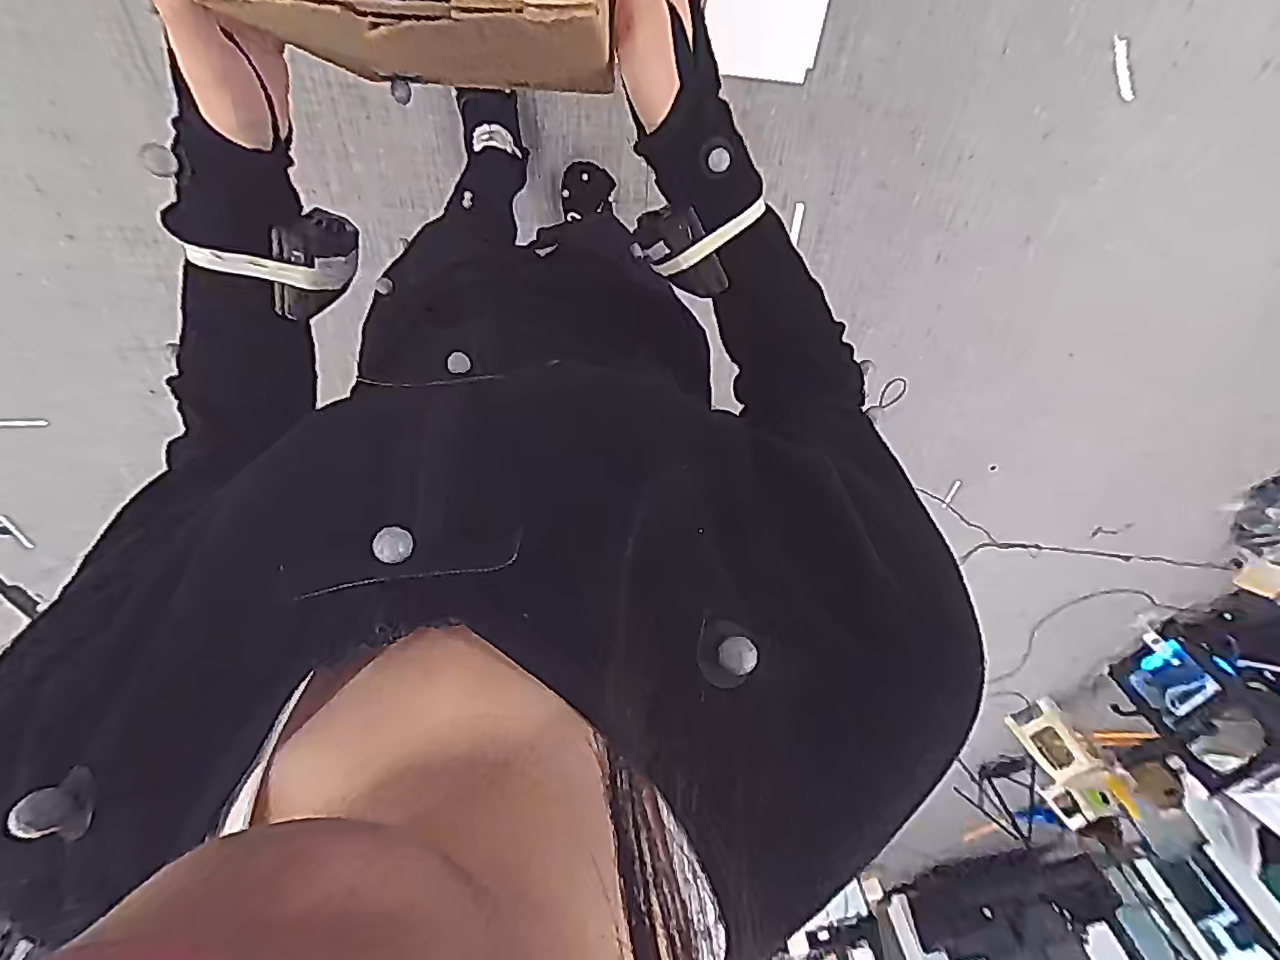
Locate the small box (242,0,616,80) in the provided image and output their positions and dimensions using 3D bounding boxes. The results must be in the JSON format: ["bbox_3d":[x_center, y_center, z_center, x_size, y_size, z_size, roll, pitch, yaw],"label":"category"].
[{"bbox_3d":[-0.093,-0.302,0.240,0.168,0.176,0.179,2,116,-2],"label":"small box"}]
